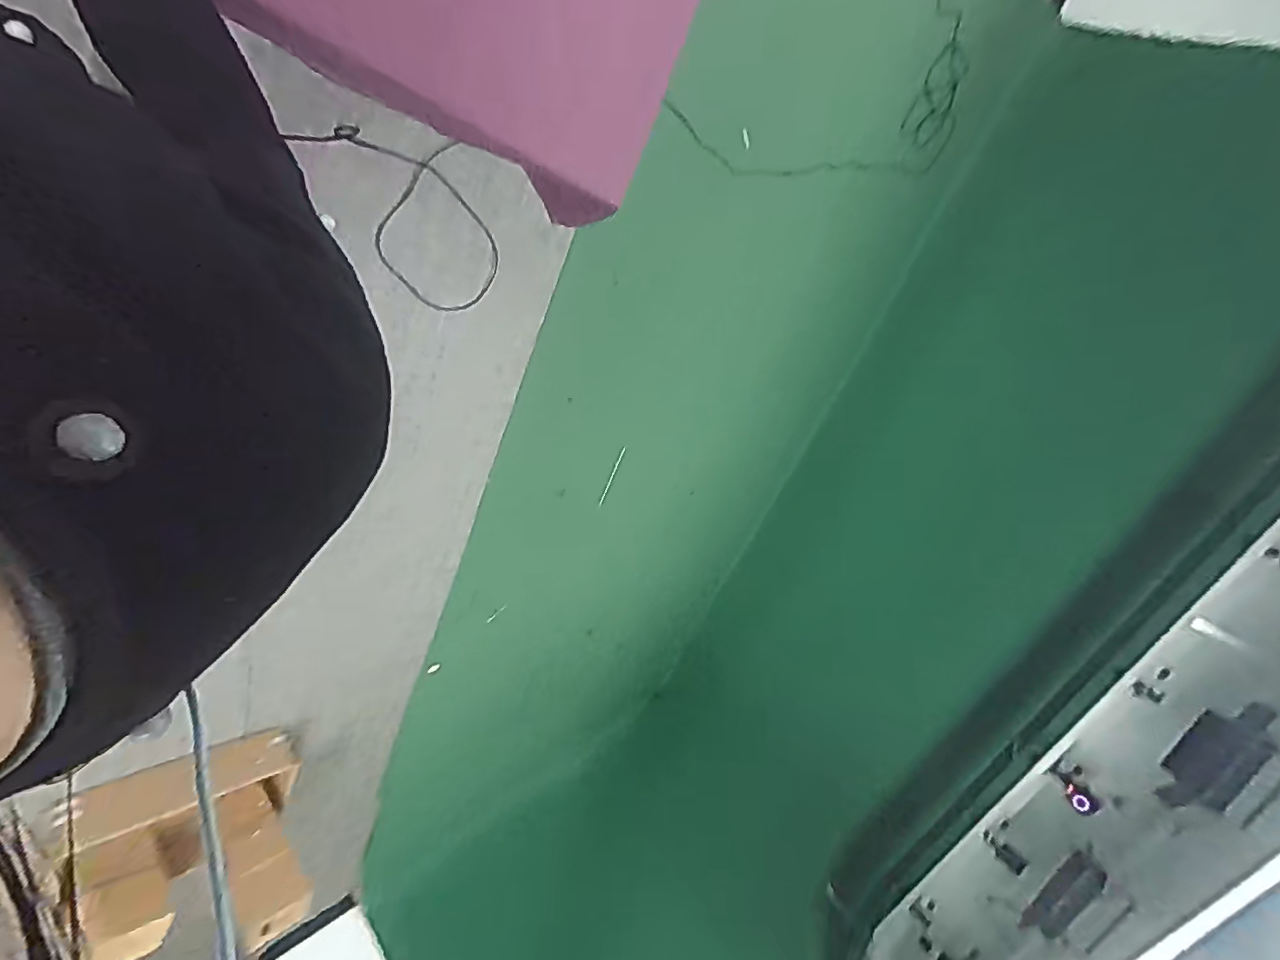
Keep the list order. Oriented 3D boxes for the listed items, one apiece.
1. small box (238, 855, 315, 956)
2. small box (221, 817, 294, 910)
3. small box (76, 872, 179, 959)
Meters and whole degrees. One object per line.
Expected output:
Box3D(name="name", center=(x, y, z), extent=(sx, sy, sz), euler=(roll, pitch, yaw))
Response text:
Box3D(name="small box", center=(-1.241, 1.439, 1.839), extent=(0.179, 0.176, 0.168), euler=(-11, 131, -51))
Box3D(name="small box", center=(-1.358, 1.351, 1.915), extent=(0.168, 0.176, 0.179), euler=(-7, 126, -53))
Box3D(name="small box", center=(-1.559, 1.352, 1.644), extent=(0.179, 0.176, 0.168), euler=(15, 107, -58))
